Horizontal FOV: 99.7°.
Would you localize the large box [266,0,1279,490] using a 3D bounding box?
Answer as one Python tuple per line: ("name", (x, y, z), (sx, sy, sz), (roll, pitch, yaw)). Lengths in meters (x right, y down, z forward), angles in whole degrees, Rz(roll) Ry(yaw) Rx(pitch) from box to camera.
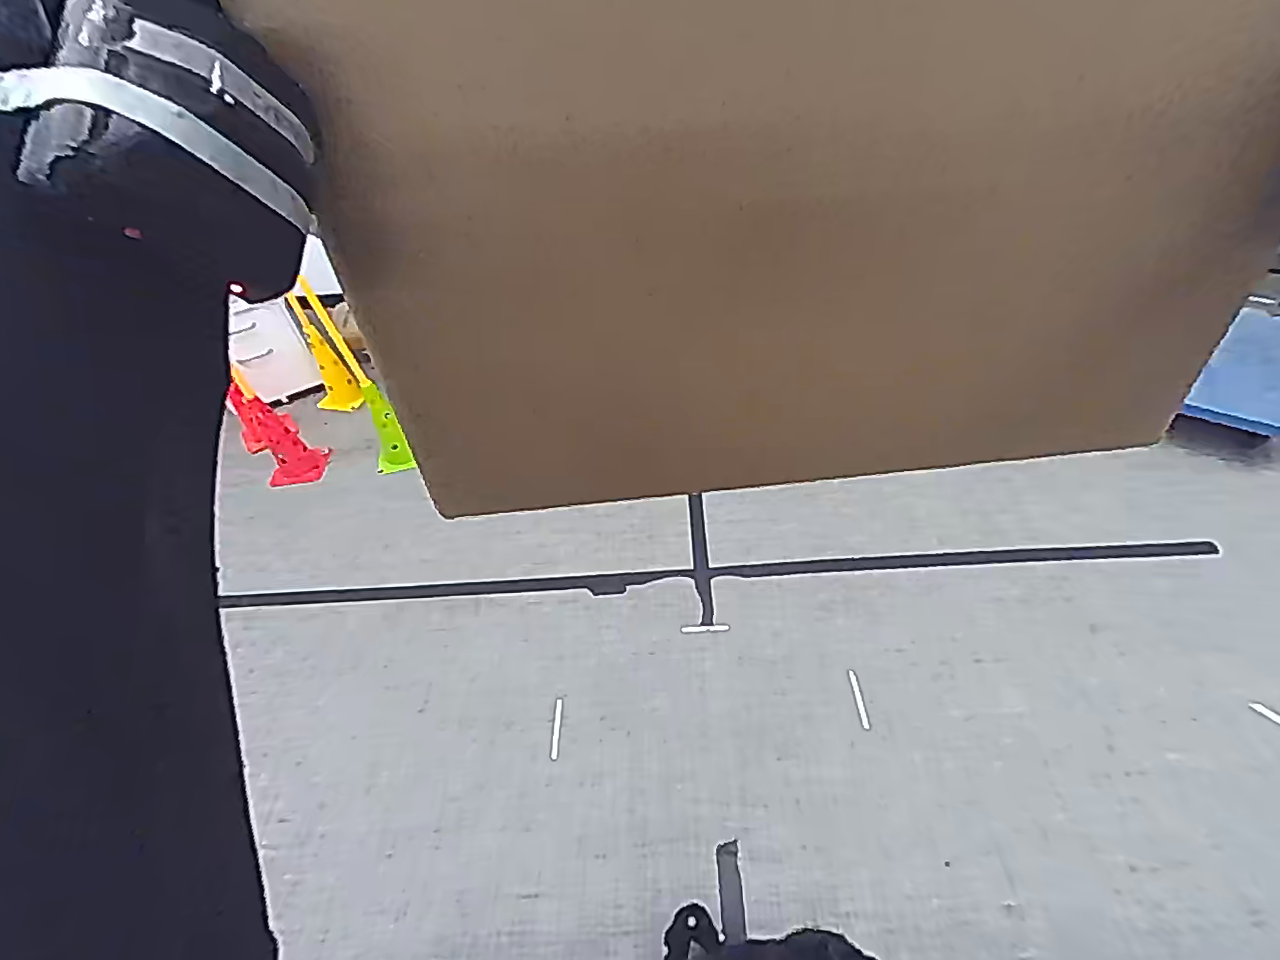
("large box", (0.063, -0.219, 0.333), (0.408, 0.320, 0.320), (-5, 39, -1))
